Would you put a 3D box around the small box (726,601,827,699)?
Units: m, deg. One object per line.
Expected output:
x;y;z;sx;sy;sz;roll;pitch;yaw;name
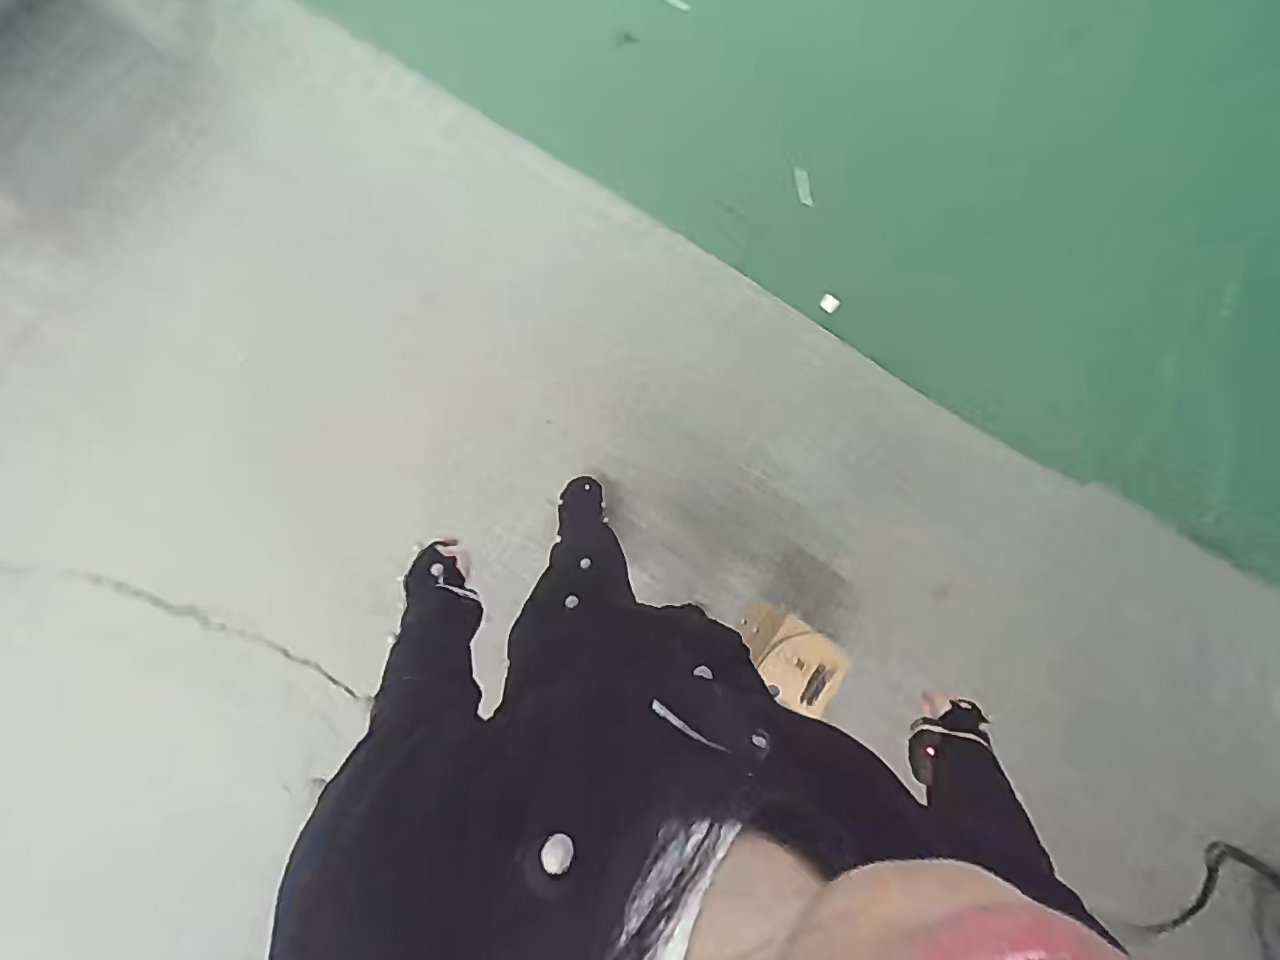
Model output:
0.344;0.430;1.404;0.179;0.176;0.168;35;85;3;small box
